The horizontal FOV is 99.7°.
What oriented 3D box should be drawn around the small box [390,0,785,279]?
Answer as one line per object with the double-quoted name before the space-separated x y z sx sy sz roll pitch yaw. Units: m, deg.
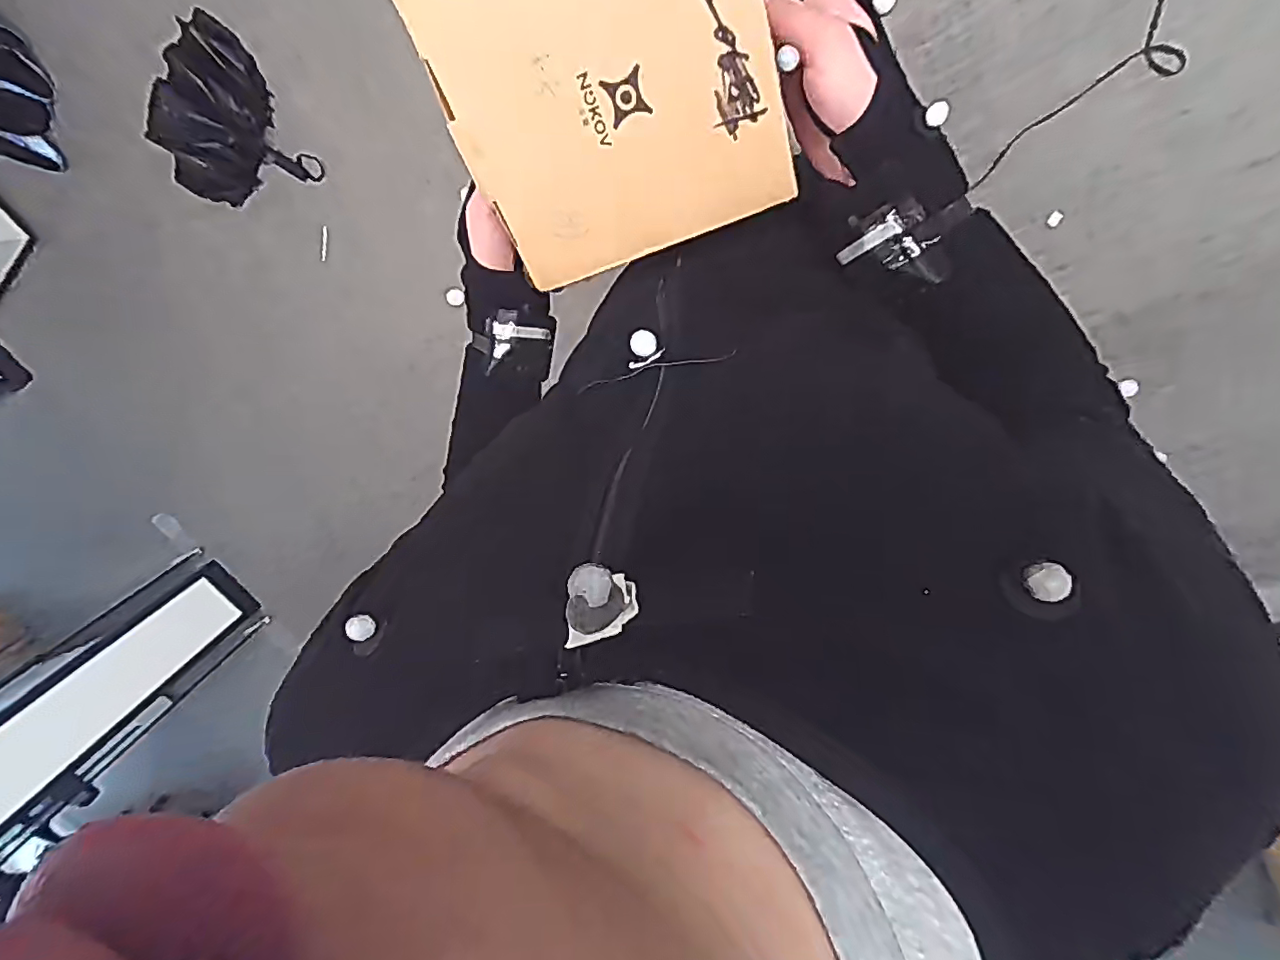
"small box" -0.016 -0.262 0.350 0.179 0.176 0.168 -13 130 16
